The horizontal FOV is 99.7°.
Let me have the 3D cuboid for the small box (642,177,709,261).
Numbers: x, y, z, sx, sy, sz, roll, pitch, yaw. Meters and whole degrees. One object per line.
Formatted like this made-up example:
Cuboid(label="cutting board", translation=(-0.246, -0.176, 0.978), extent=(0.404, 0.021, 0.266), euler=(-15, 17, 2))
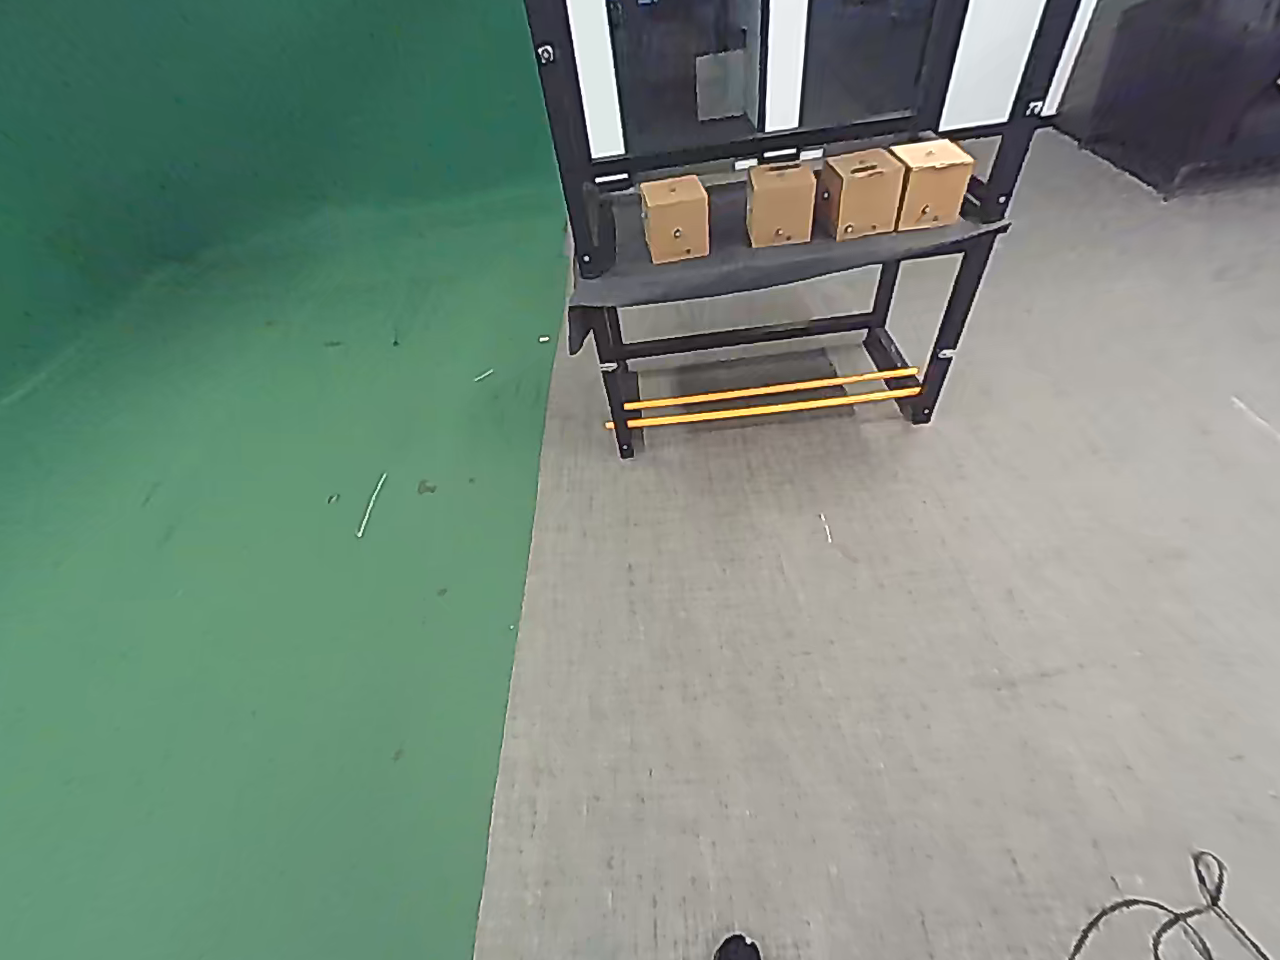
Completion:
Cuboid(label="small box", translation=(0.105, -0.755, 1.581), extent=(0.168, 0.176, 0.179), euler=(-9, 46, 0))
